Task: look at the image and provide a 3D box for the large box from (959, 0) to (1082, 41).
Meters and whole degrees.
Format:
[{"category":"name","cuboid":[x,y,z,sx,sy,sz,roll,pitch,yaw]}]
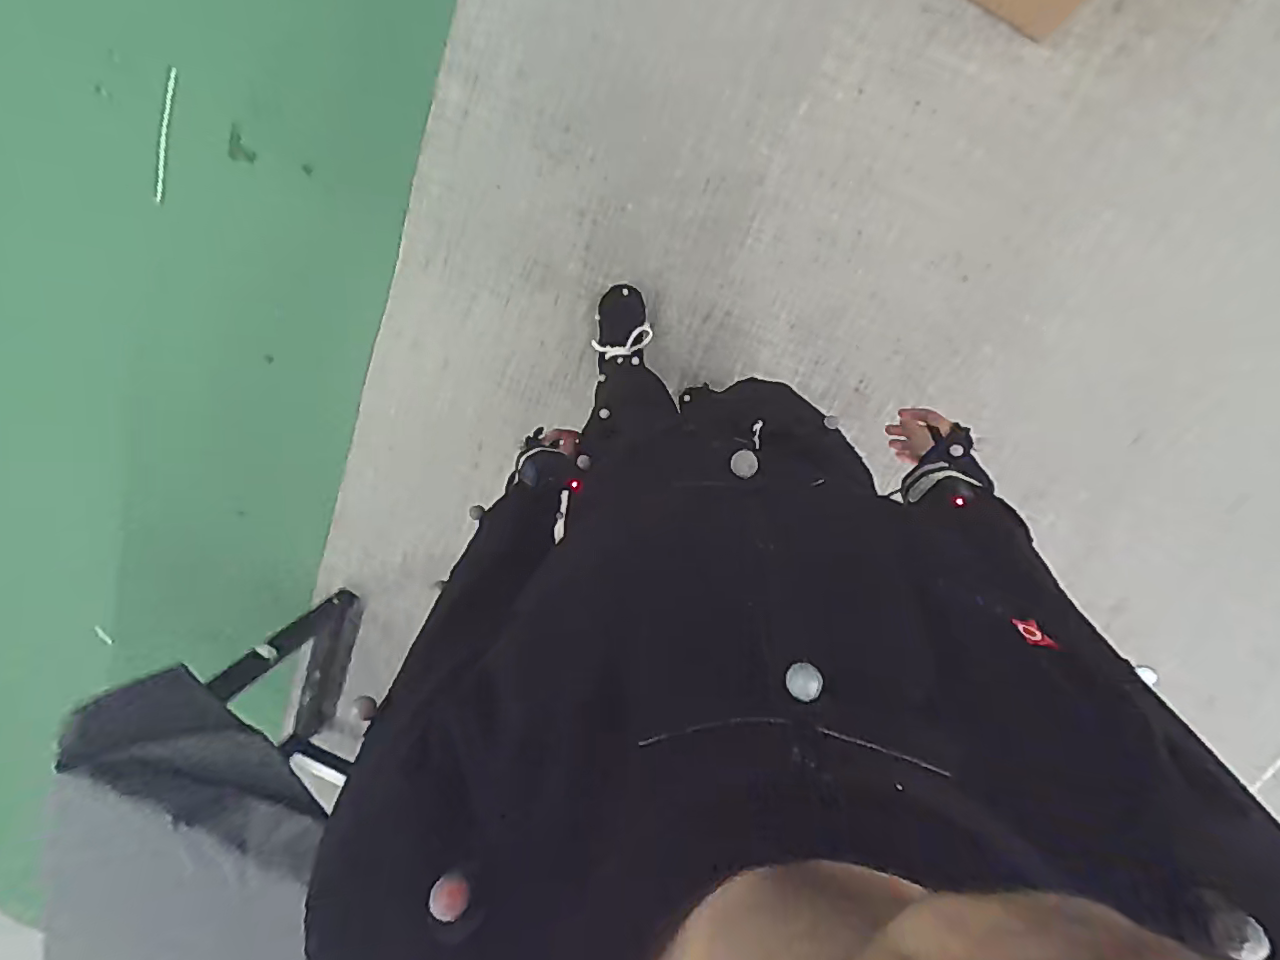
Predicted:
[{"category":"large box","cuboid":[0.641,-1.025,0.858,0.408,0.320,0.320,30,108,-1]}]
